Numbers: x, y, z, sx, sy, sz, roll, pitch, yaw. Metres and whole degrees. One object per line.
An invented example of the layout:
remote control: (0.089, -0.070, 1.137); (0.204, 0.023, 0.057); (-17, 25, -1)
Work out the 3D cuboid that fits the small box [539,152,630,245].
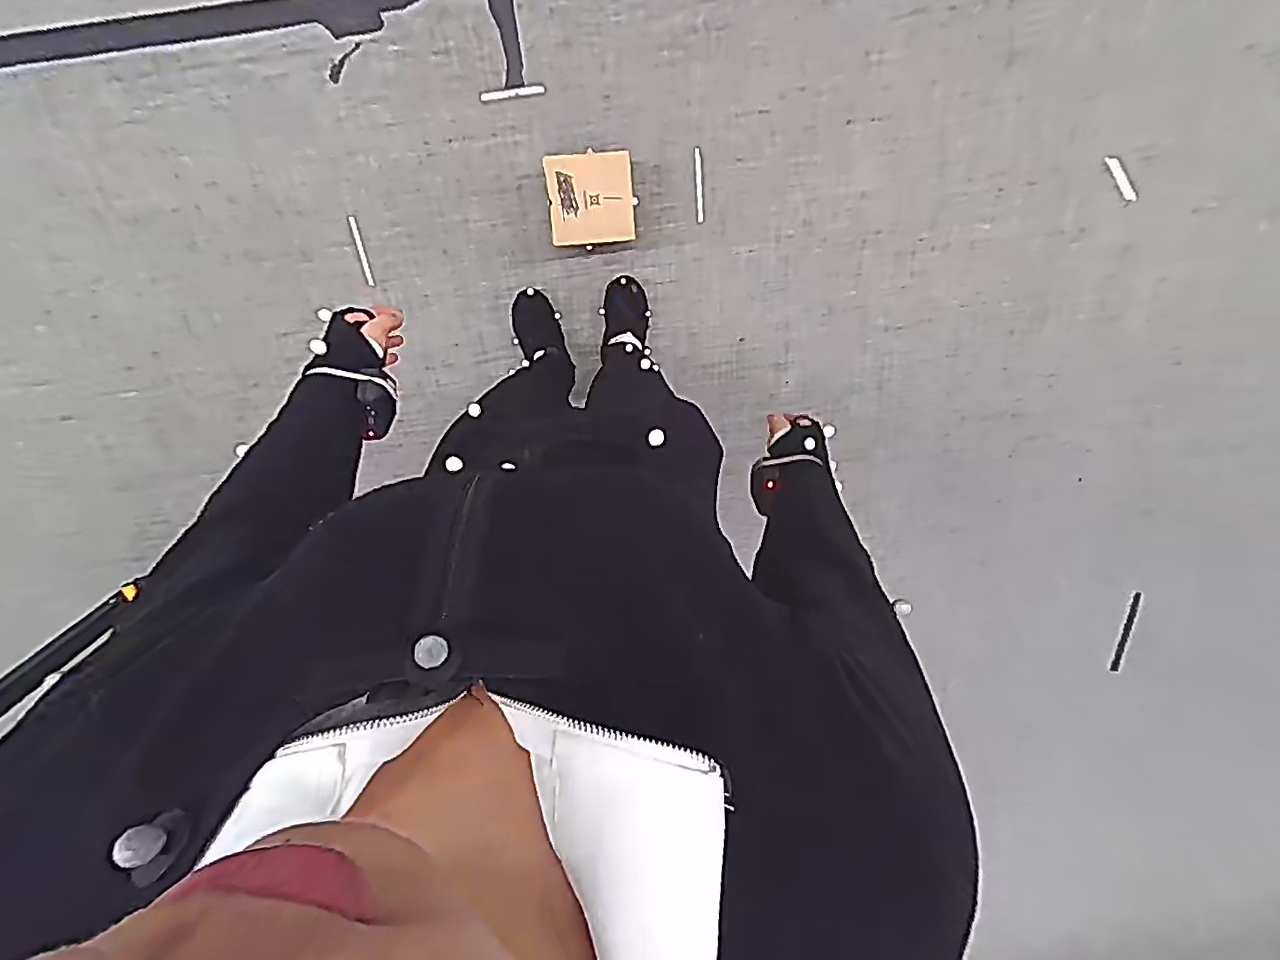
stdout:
small box: (-0.116, -0.606, 1.175); (0.179, 0.176, 0.168); (-5, 116, -3)
